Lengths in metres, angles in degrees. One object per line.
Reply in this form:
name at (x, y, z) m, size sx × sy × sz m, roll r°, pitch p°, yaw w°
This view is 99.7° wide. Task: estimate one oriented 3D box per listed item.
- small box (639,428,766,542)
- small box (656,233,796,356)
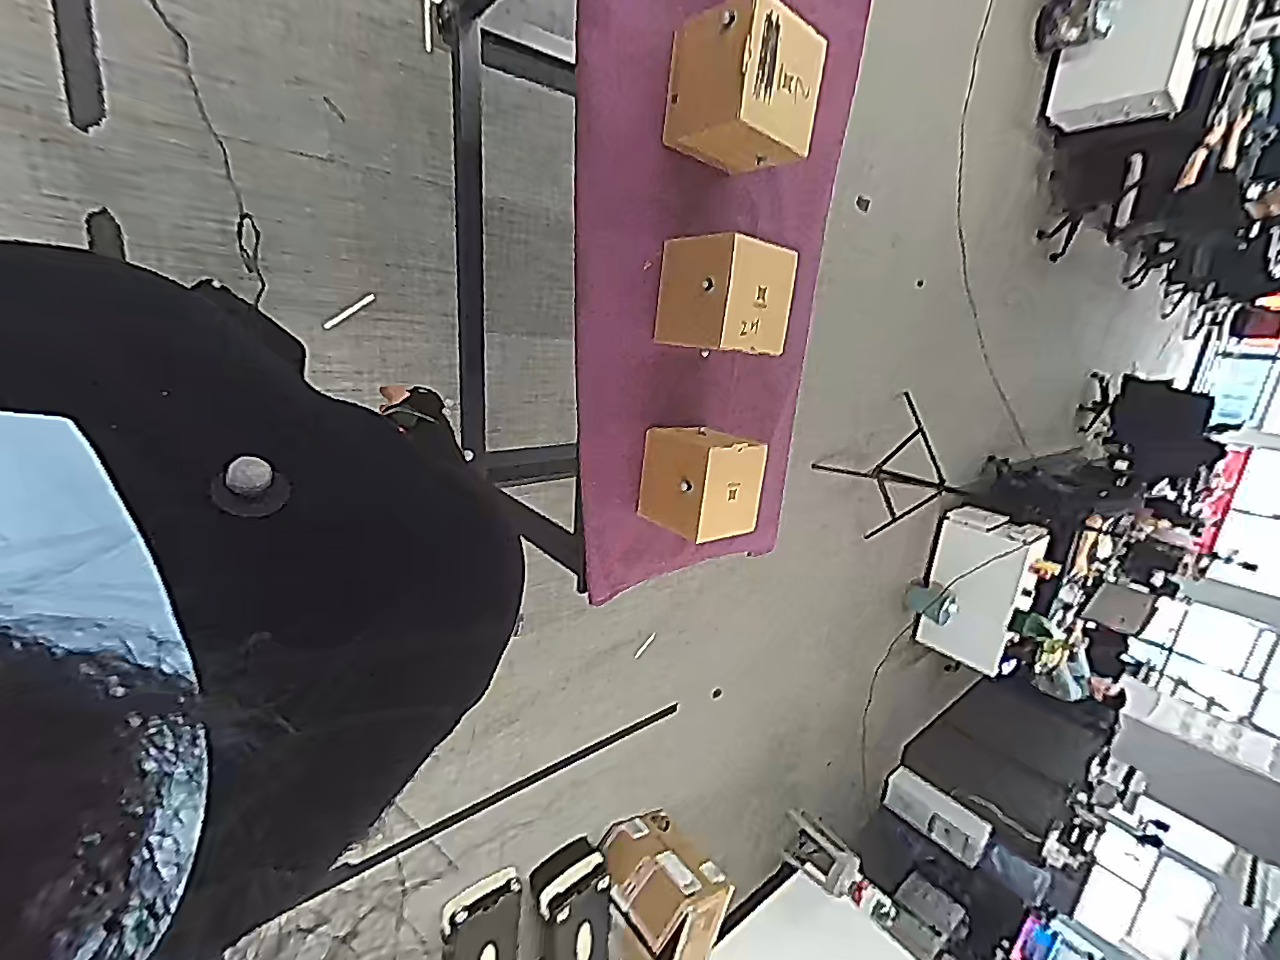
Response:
small box at (0.114, 0.002, 1.043) m, size 0.168 × 0.176 × 0.179 m, roll -5°, pitch 107°, yaw -40°
small box at (0.146, -0.321, 0.956) m, size 0.168 × 0.176 × 0.179 m, roll -5°, pitch 108°, yaw -39°
